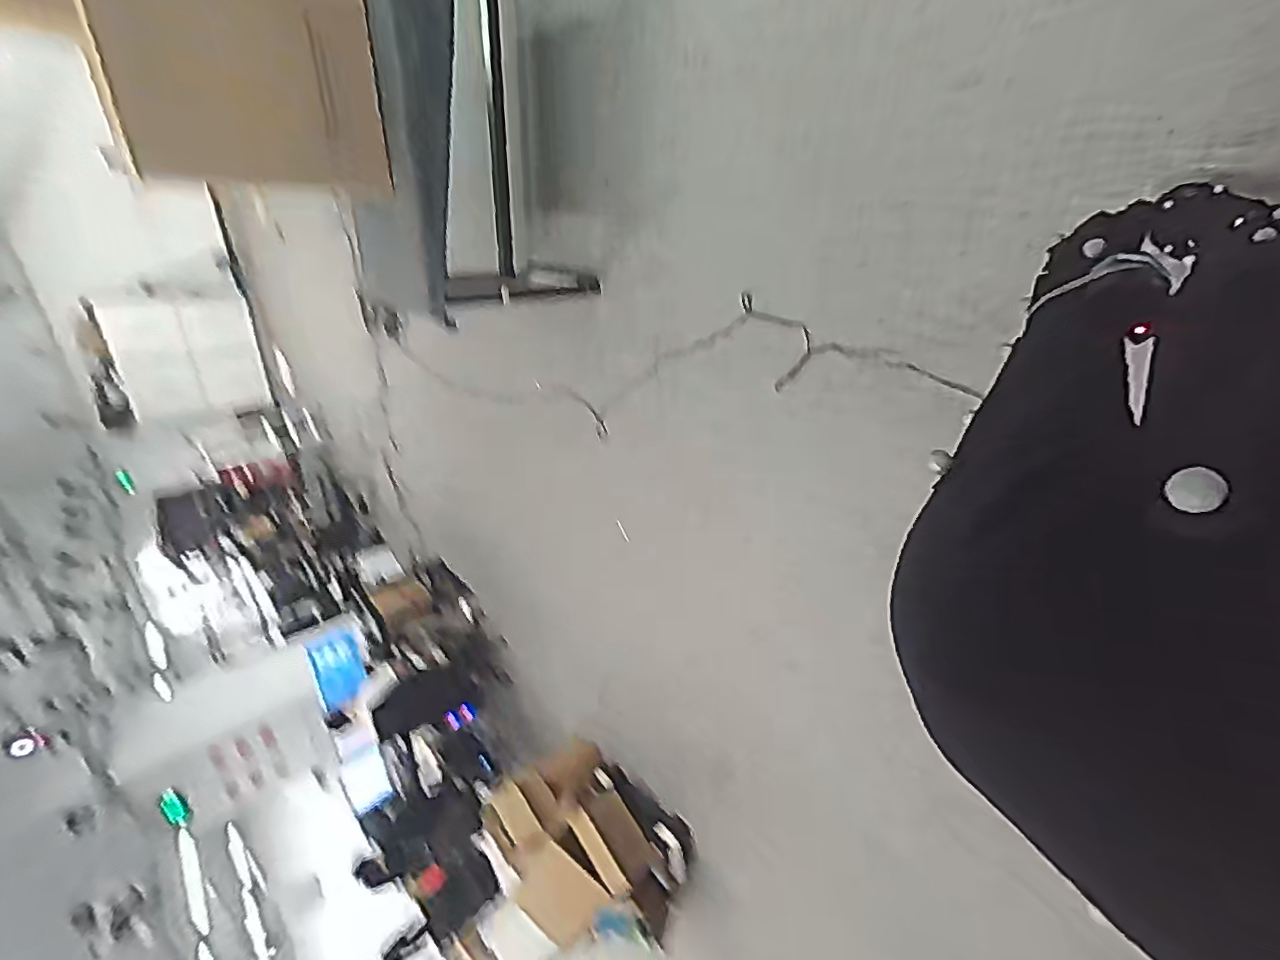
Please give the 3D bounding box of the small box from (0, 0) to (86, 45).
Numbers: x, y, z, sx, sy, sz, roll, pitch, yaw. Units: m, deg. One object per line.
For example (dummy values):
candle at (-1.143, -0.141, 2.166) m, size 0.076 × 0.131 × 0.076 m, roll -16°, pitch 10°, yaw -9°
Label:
small box at (-1.369, -1.101, 1.187) m, size 0.168 × 0.176 × 0.179 m, roll 21°, pitch 121°, yaw 41°
